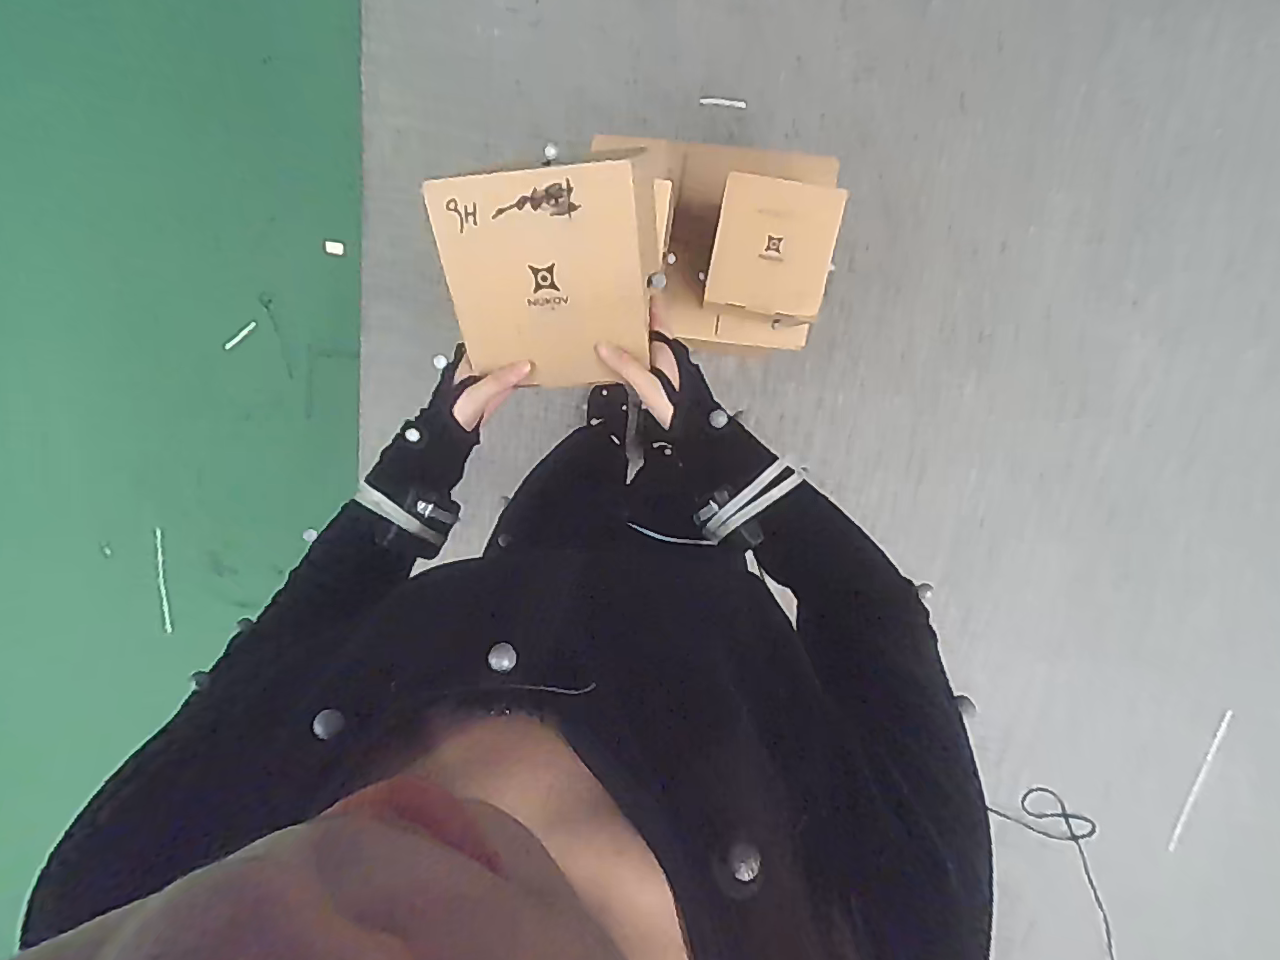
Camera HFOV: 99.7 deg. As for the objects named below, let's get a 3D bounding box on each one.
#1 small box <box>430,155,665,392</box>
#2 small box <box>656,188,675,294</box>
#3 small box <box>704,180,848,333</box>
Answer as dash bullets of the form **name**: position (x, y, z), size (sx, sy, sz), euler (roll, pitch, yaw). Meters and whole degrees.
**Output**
- **small box**: position (-0.067, -0.200, 0.519), size (0.168, 0.176, 0.179), euler (-2, 123, 8)
- **small box**: position (-0.039, -0.350, 0.849), size (0.168, 0.176, 0.179), euler (8, 106, 2)
- **small box**: position (0.197, -0.329, 0.831), size (0.168, 0.176, 0.179), euler (11, 103, 3)
